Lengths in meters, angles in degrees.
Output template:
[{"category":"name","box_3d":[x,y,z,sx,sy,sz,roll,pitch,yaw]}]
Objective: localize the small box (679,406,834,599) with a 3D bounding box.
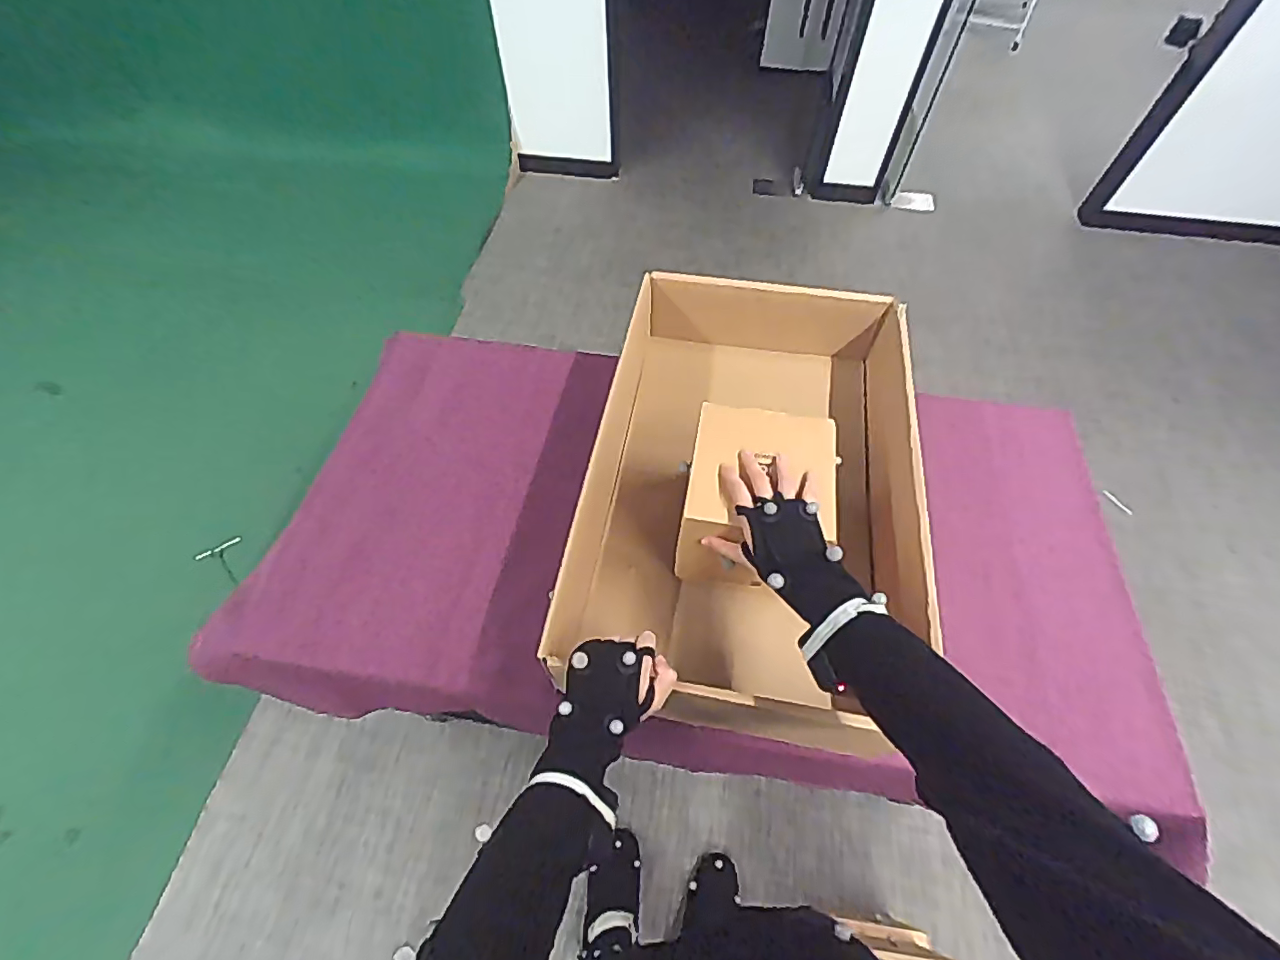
[{"category":"small box","box_3d":[0.143,0.034,0.692,0.168,0.176,0.179,9,55,7]}]

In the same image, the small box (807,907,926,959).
[{"category":"small box","box_3d":[0.432,0.945,1.039,0.179,0.176,0.168,7,59,5]}]
